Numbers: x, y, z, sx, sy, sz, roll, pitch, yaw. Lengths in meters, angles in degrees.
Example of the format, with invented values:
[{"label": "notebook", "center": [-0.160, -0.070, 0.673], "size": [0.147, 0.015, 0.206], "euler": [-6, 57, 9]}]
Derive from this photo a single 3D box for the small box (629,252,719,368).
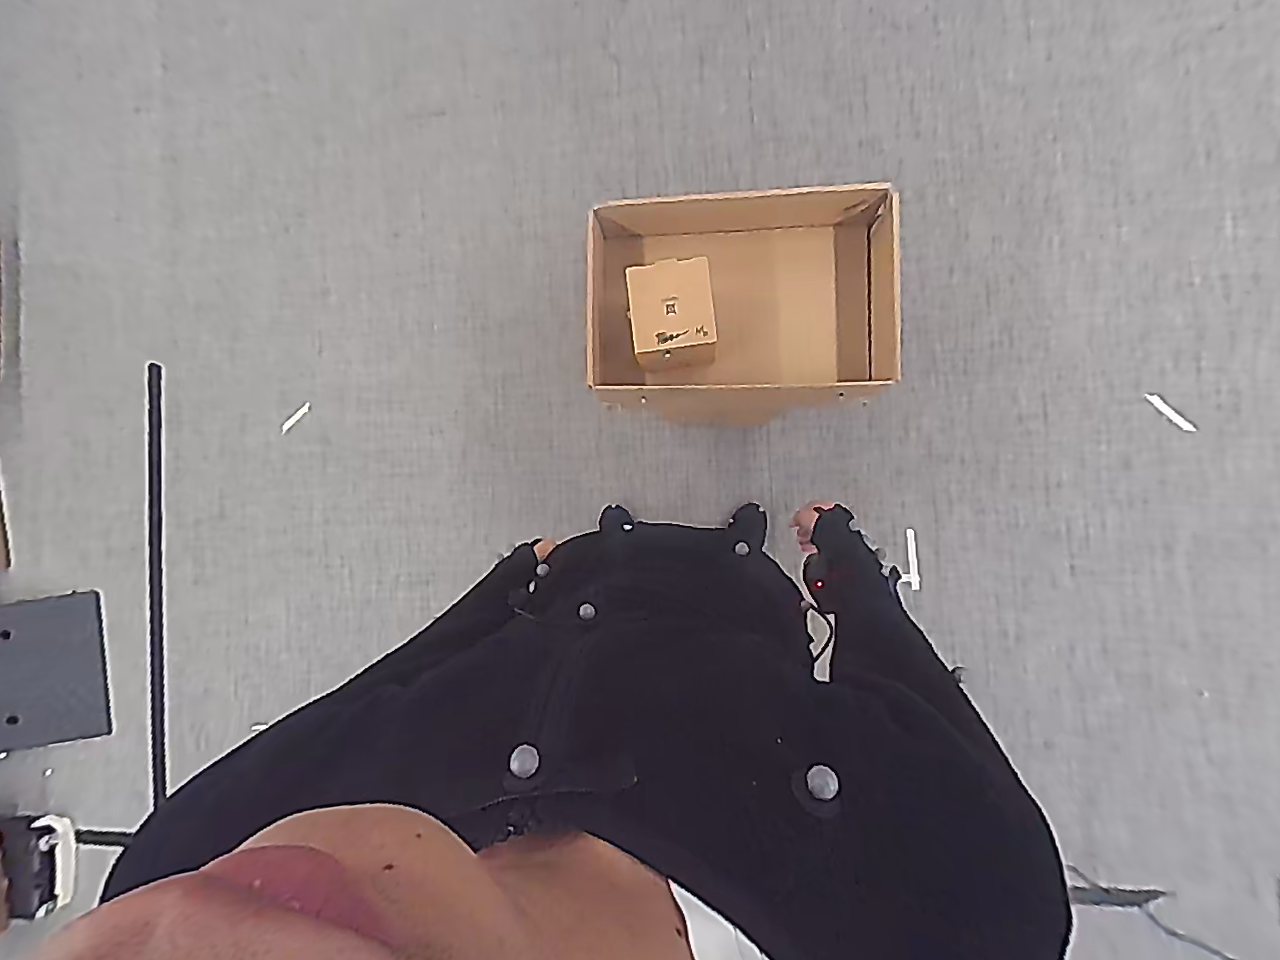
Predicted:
[{"label": "small box", "center": [0.073, -0.350, 1.142], "size": [0.168, 0.176, 0.179], "euler": [-6, 88, 7]}]
